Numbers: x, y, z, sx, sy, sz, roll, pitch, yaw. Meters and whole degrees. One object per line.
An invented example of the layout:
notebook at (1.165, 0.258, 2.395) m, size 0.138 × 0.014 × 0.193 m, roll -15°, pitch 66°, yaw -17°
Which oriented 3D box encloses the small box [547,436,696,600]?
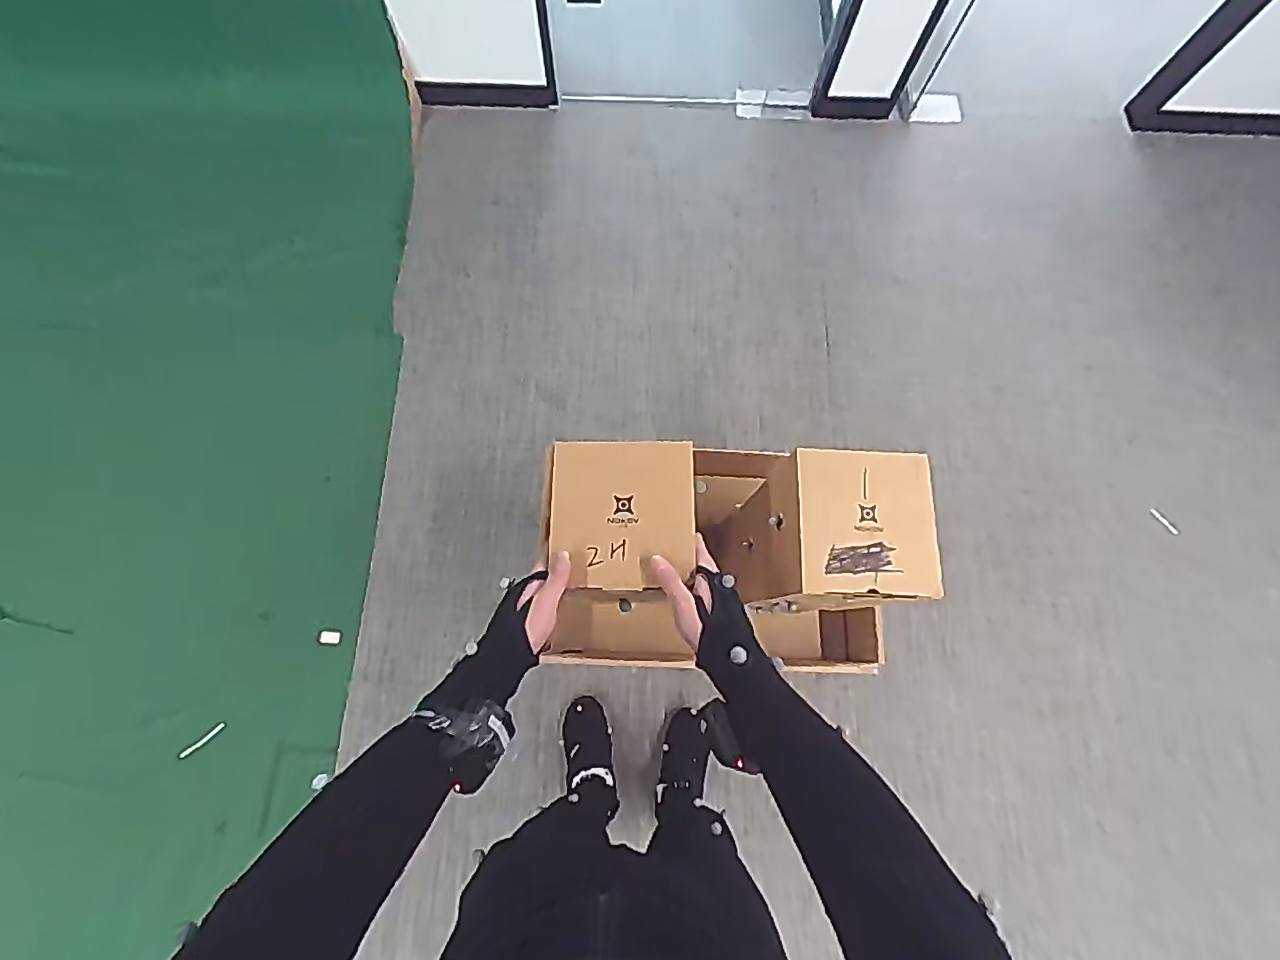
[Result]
small box at (-0.018, 0.055, 0.691) m, size 0.168 × 0.176 × 0.179 m, roll 0°, pitch 72°, yaw 2°

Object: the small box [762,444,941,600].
small box at (0.262, 0.064, 0.711) m, size 0.168 × 0.176 × 0.179 m, roll 2°, pitch 74°, yaw -2°
